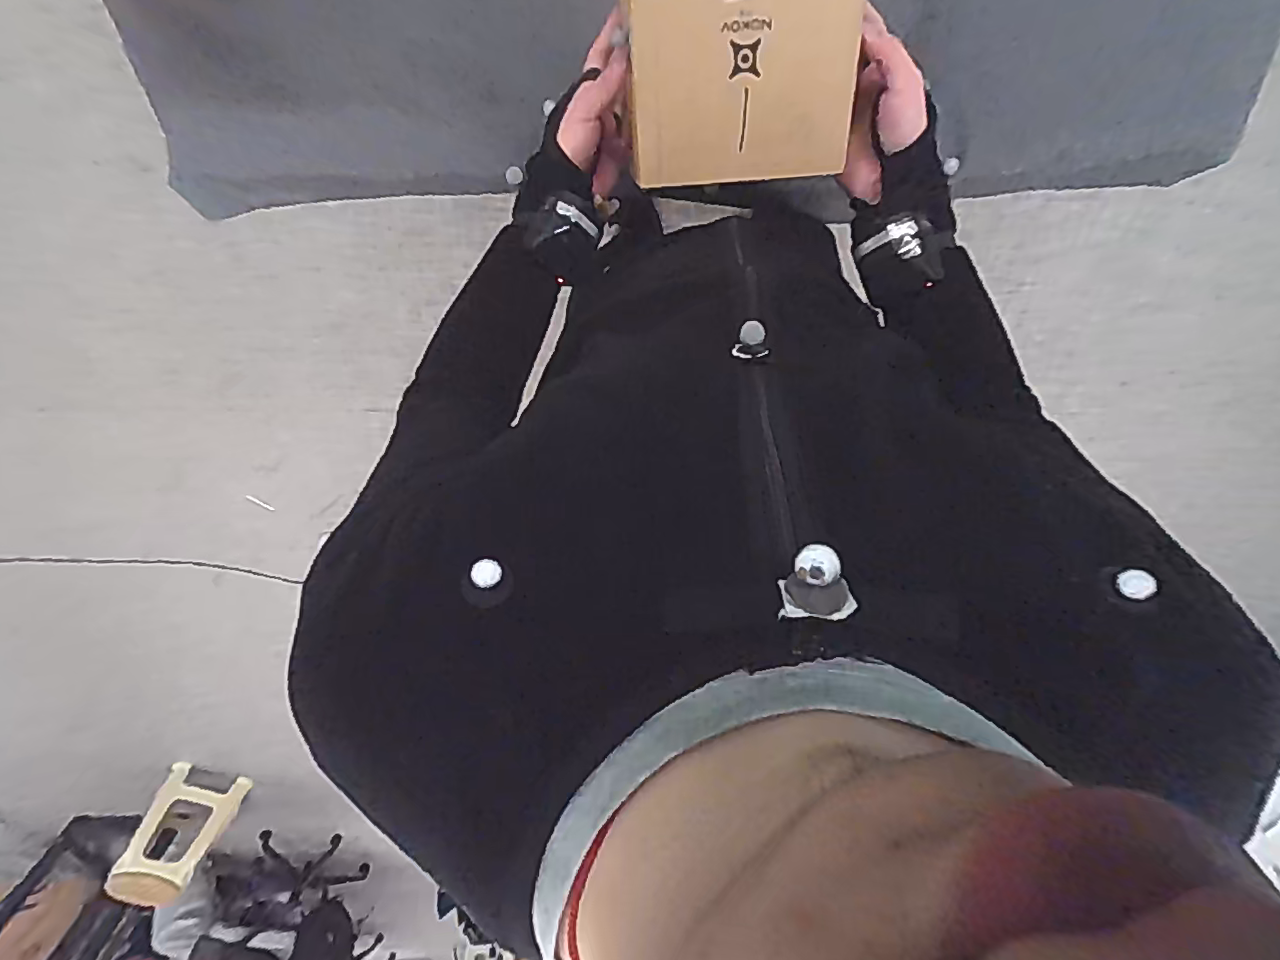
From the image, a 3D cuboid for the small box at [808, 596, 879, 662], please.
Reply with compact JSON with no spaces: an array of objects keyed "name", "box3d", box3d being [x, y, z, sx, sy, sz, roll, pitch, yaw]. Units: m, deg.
[{"name":"small box","box3d":[0.765,0.562,2.049,0.179,0.176,0.168,10,121,-6]}]
